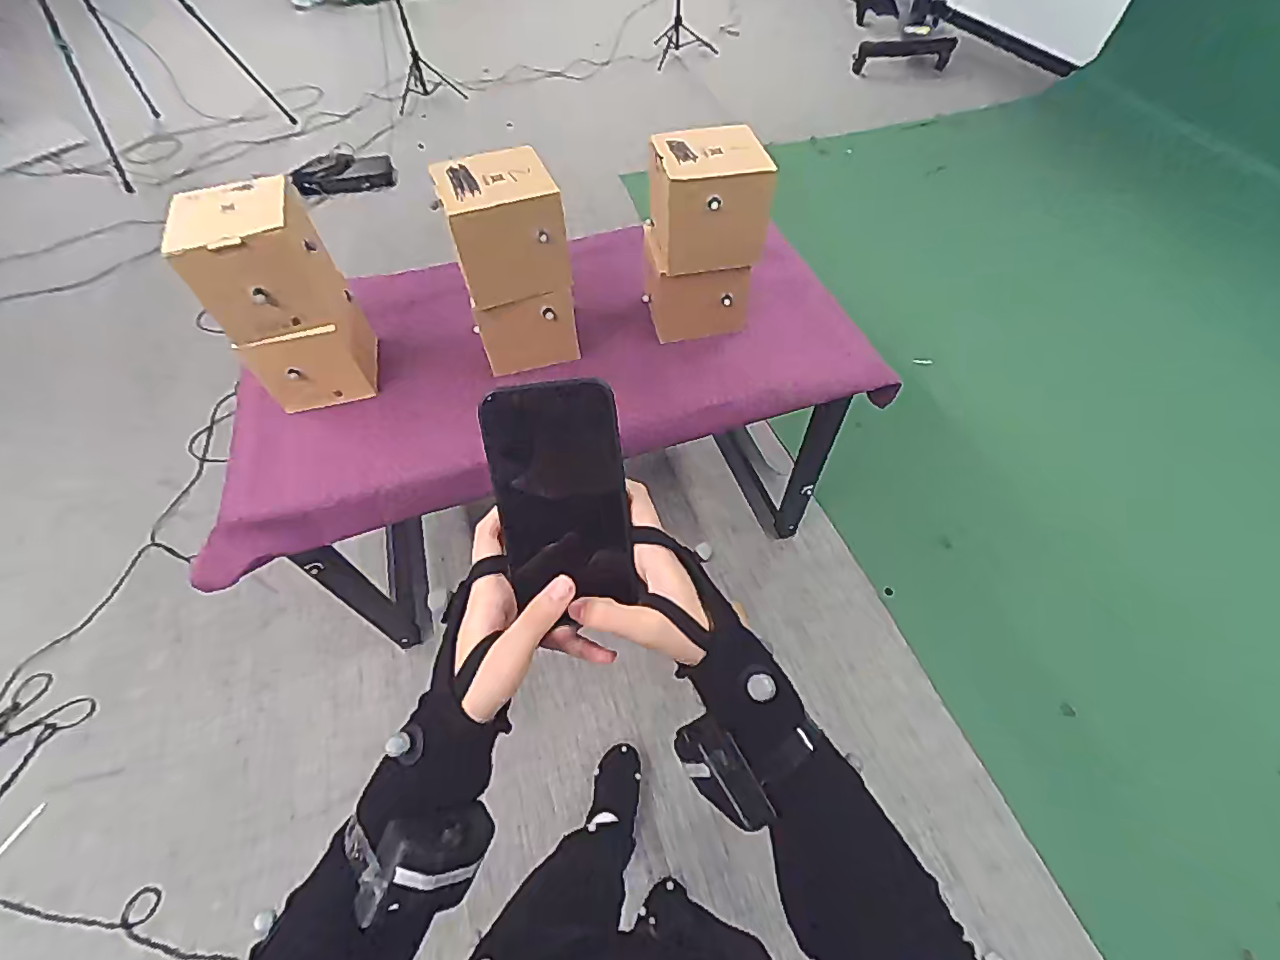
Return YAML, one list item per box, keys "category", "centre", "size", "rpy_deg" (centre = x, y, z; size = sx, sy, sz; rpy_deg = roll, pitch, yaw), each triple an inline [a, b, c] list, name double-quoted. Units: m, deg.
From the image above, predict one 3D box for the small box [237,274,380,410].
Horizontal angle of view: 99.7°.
- category: "small box"
  centre: [-0.603, -0.249, 1.009]
  size: [0.168, 0.176, 0.179]
  rpy_deg: [-13, 56, -7]

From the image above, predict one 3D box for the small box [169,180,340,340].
- category: "small box"
  centre: [-0.610, -0.349, 0.879]
  size: [0.168, 0.176, 0.179]
  rpy_deg: [-17, 57, -11]

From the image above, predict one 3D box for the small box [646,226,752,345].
- category: "small box"
  centre: [0.110, -0.395, 1.087]
  size: [0.179, 0.176, 0.168]
  rpy_deg: [-9, 55, -4]

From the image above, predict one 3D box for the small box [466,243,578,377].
- category: "small box"
  centre: [-0.221, -0.326, 1.048]
  size: [0.179, 0.176, 0.168]
  rpy_deg: [-14, 56, -7]

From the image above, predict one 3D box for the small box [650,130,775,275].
- category: "small box"
  centre: [0.118, -0.479, 0.946]
  size: [0.179, 0.176, 0.168]
  rpy_deg: [-9, 55, -5]
